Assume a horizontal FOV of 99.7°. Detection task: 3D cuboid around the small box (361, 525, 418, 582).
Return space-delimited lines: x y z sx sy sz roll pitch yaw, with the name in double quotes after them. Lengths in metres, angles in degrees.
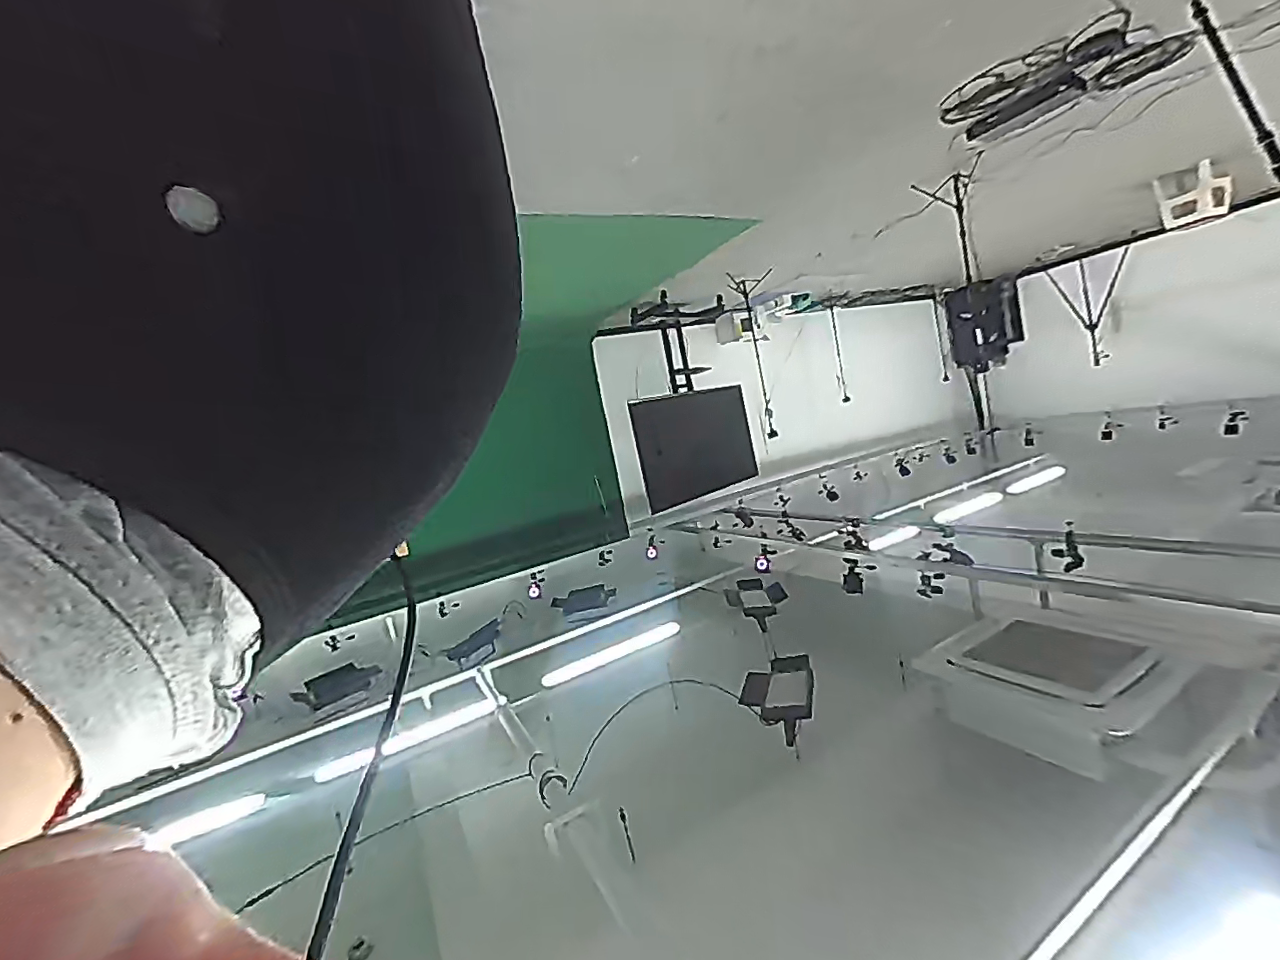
-0.979 0.282 2.110 0.168 0.176 0.179 -17 -174 -25 "small box"
